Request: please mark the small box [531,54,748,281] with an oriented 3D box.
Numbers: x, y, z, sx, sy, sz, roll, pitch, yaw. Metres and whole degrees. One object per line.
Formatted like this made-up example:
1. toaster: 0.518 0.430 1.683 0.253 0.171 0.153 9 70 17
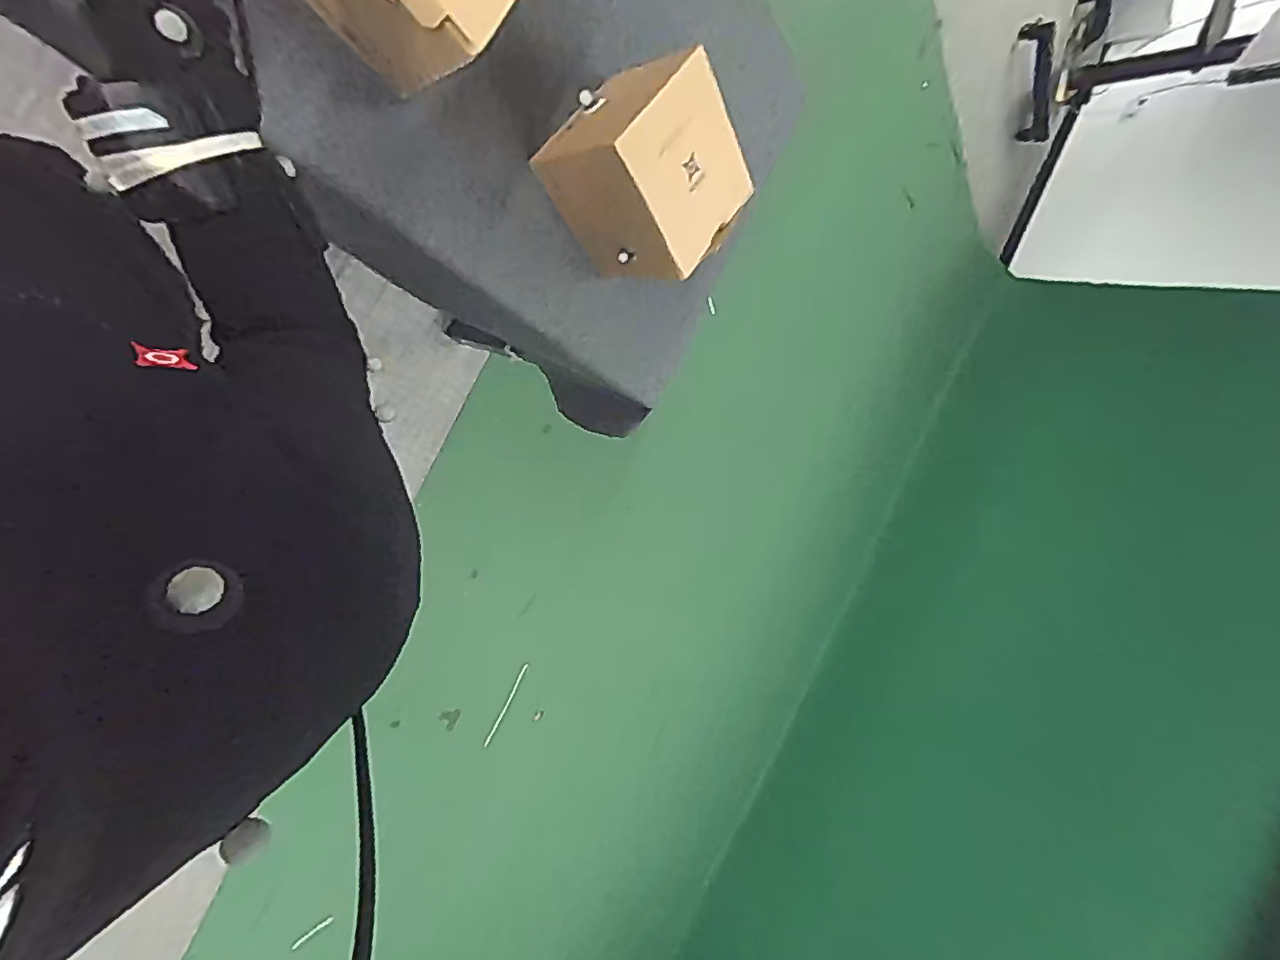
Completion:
1. small box: 0.001 -0.377 0.679 0.168 0.176 0.179 -54 135 -13
